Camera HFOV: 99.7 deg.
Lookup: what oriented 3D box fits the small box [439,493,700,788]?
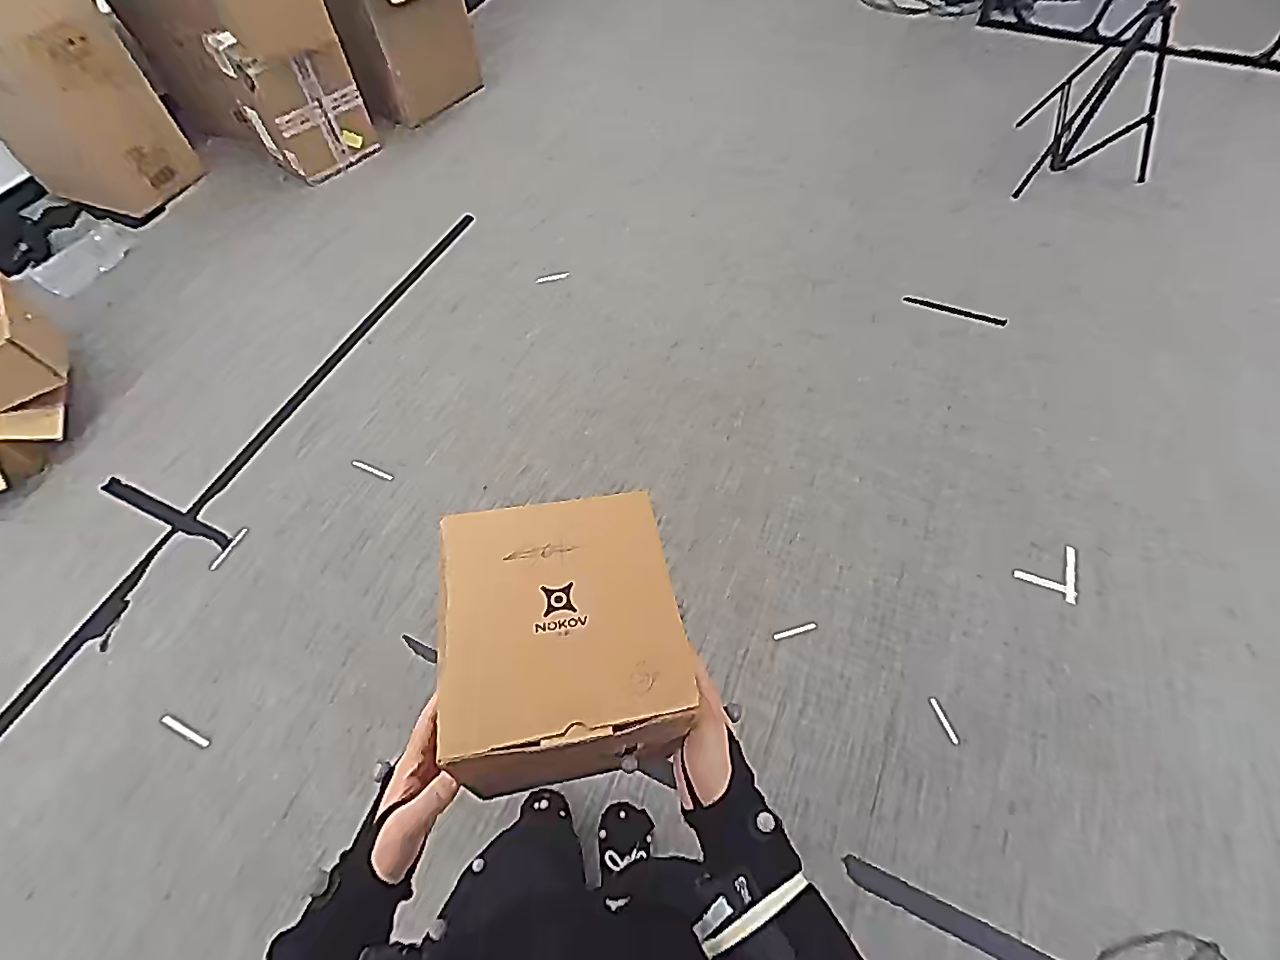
[{"bbox_3d":[-0.061,0.136,0.442,0.168,0.176,0.179,-7,54,-11],"label":"small box"}]
